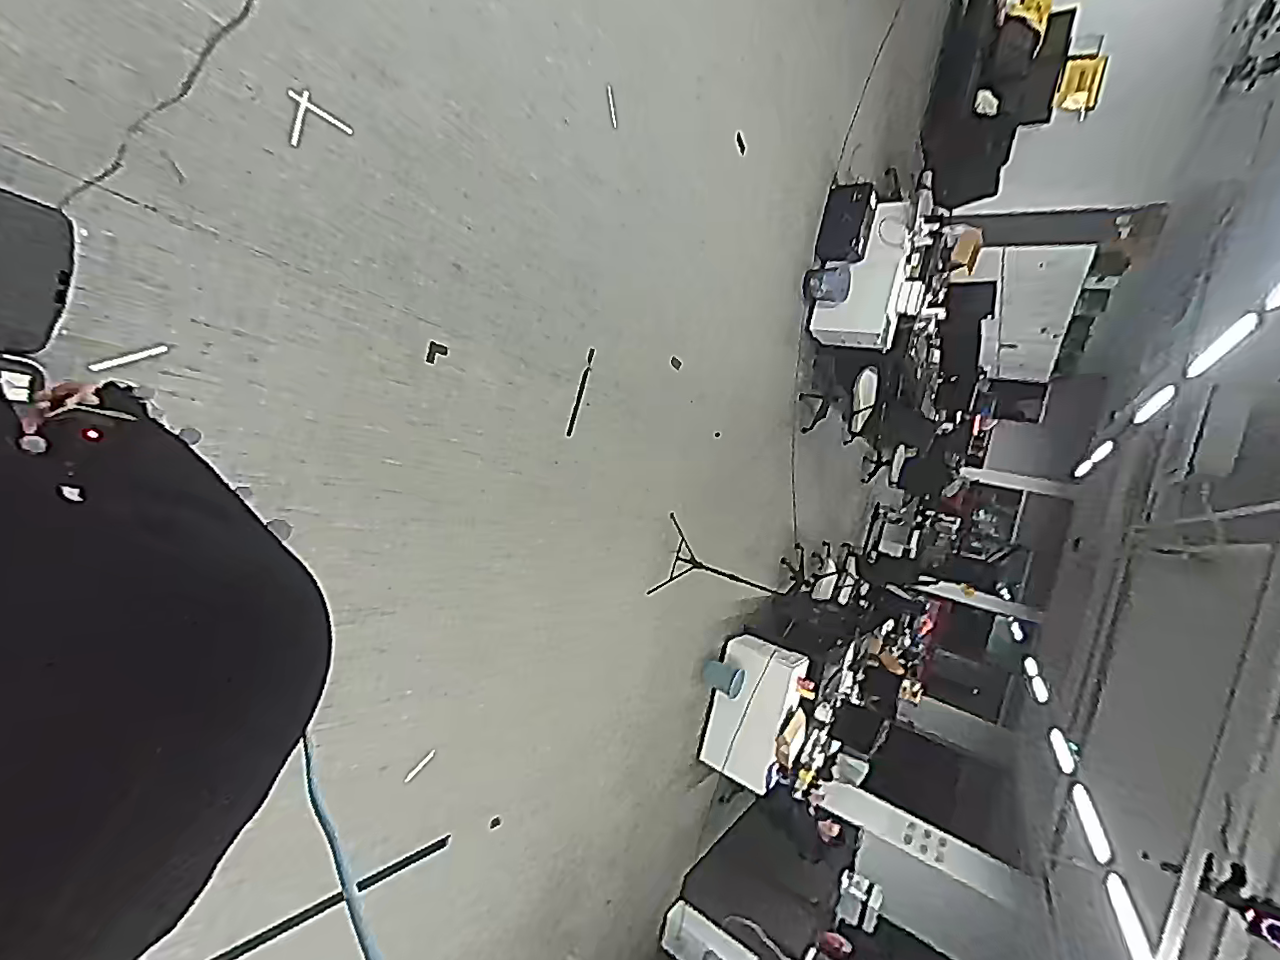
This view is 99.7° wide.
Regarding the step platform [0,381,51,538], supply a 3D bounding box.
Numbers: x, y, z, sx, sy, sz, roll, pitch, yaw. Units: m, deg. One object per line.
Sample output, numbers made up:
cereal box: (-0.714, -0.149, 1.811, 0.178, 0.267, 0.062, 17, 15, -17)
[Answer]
step platform: (-1.323, -0.091, 0.745, 0.684, 0.204, 0.286, 21, 83, -55)
